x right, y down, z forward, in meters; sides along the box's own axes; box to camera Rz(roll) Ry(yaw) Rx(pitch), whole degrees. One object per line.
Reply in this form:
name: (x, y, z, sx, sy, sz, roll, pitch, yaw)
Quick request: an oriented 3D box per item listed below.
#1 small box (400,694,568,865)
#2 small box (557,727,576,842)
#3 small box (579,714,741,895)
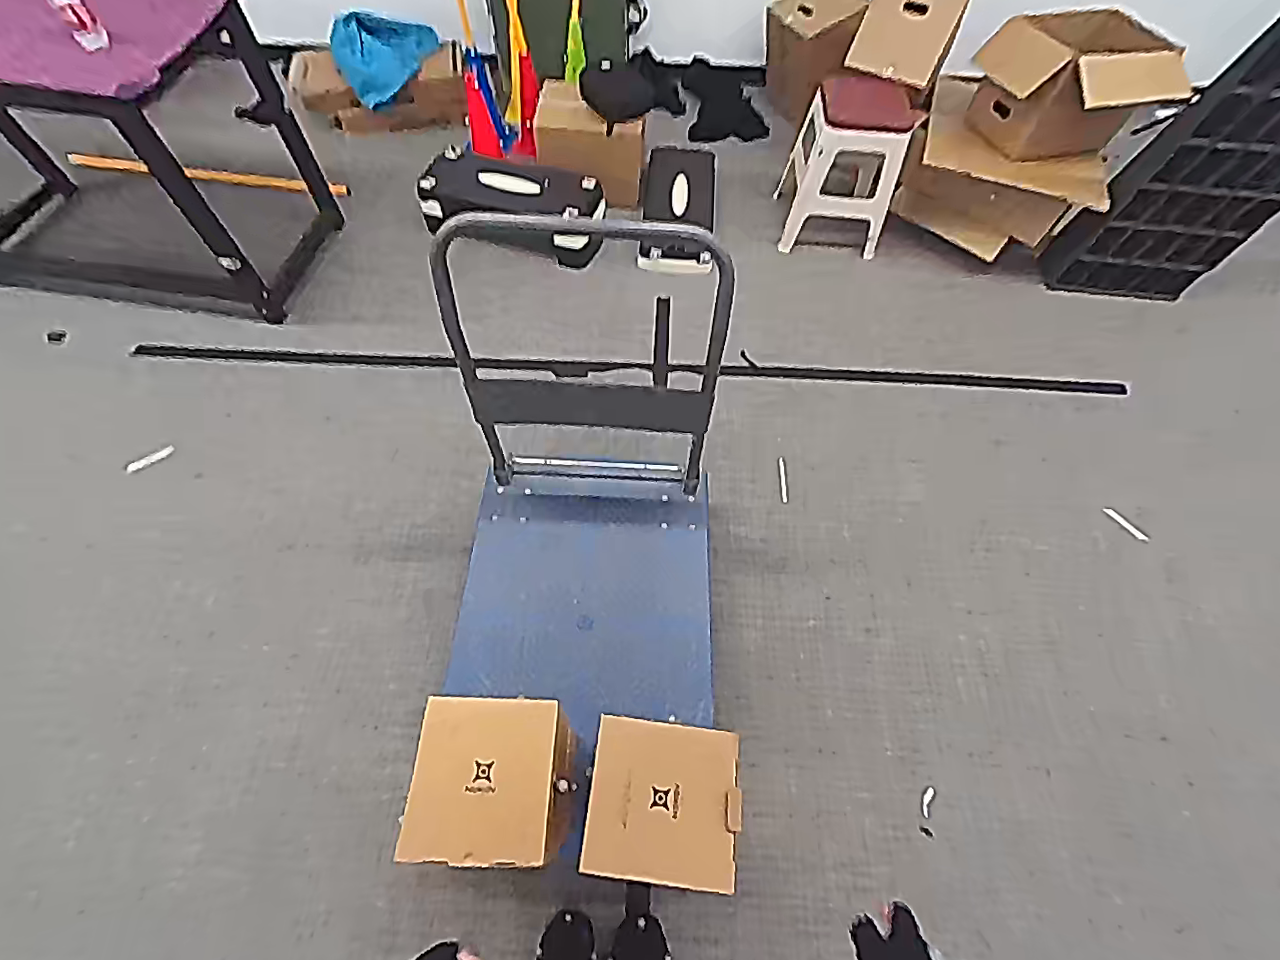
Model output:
small box: (-0.188, 0.391, 0.713, 0.168, 0.176, 0.179, 3, 61, -1)
small box: (-0.209, 0.554, 0.997, 0.168, 0.176, 0.179, 3, 60, -2)
small box: (0.026, 0.416, 0.708, 0.179, 0.176, 0.168, 8, 59, 3)
